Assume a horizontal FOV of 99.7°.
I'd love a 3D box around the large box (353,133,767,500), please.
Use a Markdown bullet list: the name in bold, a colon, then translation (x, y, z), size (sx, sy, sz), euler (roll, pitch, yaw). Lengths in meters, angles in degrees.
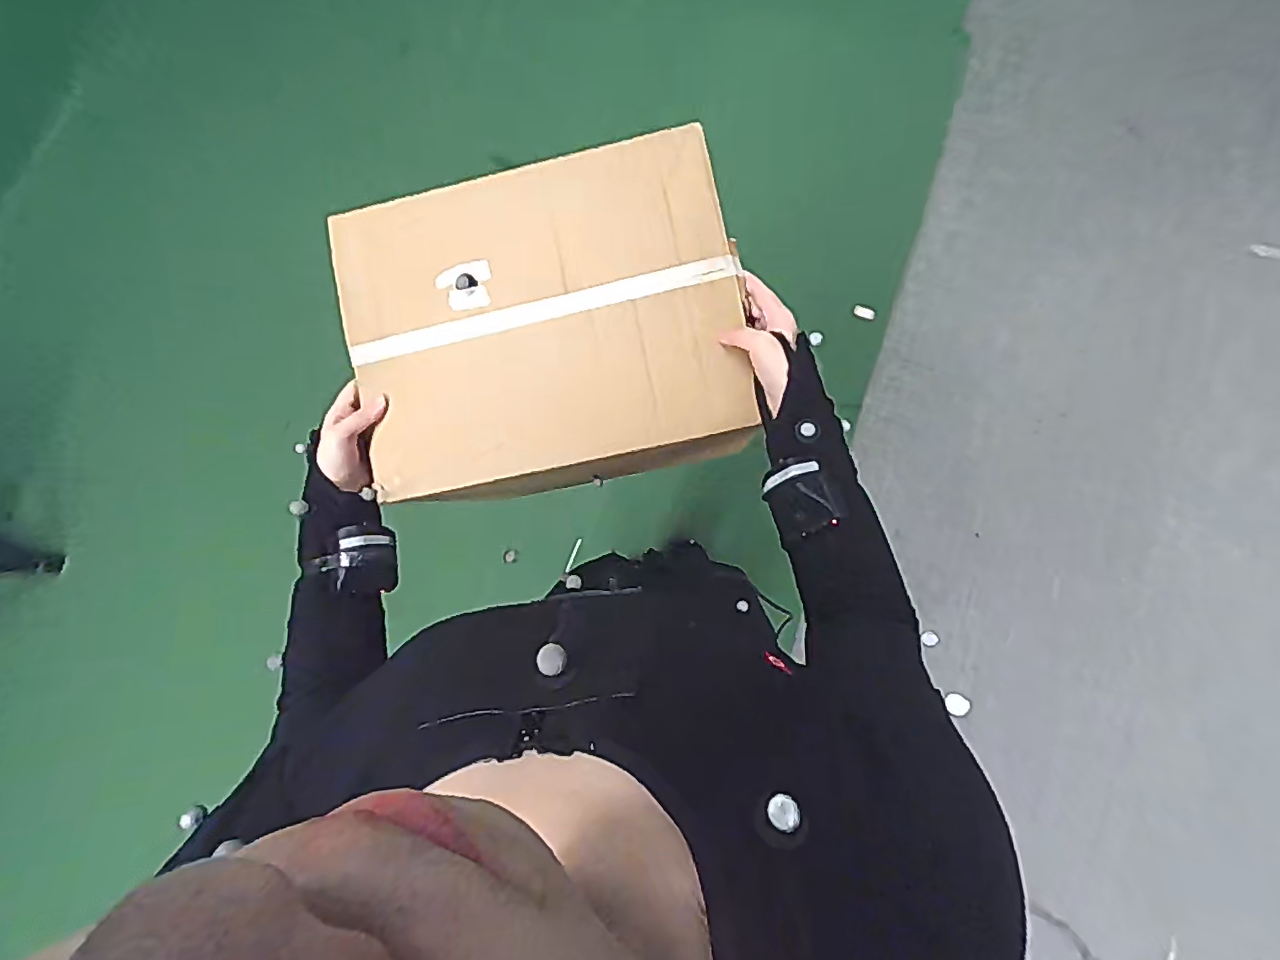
- **large box**: translation (-0.077, -0.164, 0.712), size (0.408, 0.320, 0.320), euler (-11, 86, 6)
